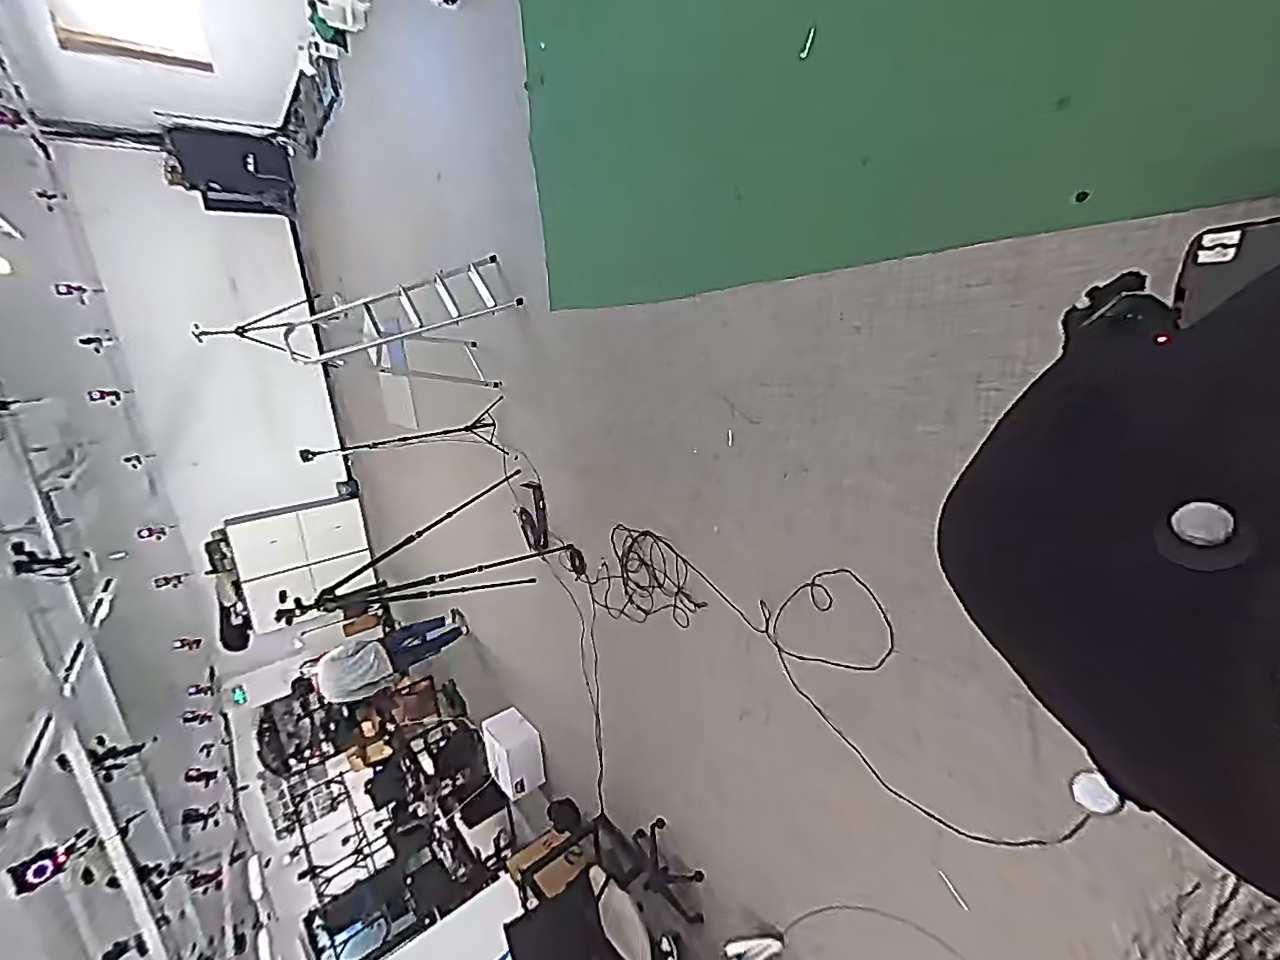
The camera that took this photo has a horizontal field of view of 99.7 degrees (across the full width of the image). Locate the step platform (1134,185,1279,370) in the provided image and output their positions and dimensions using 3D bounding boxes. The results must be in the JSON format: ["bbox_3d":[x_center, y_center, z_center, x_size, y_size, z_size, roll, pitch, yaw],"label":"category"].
[{"bbox_3d":[1.170,-0.316,0.756,0.684,0.204,0.286,12,113,51],"label":"step platform"}]
